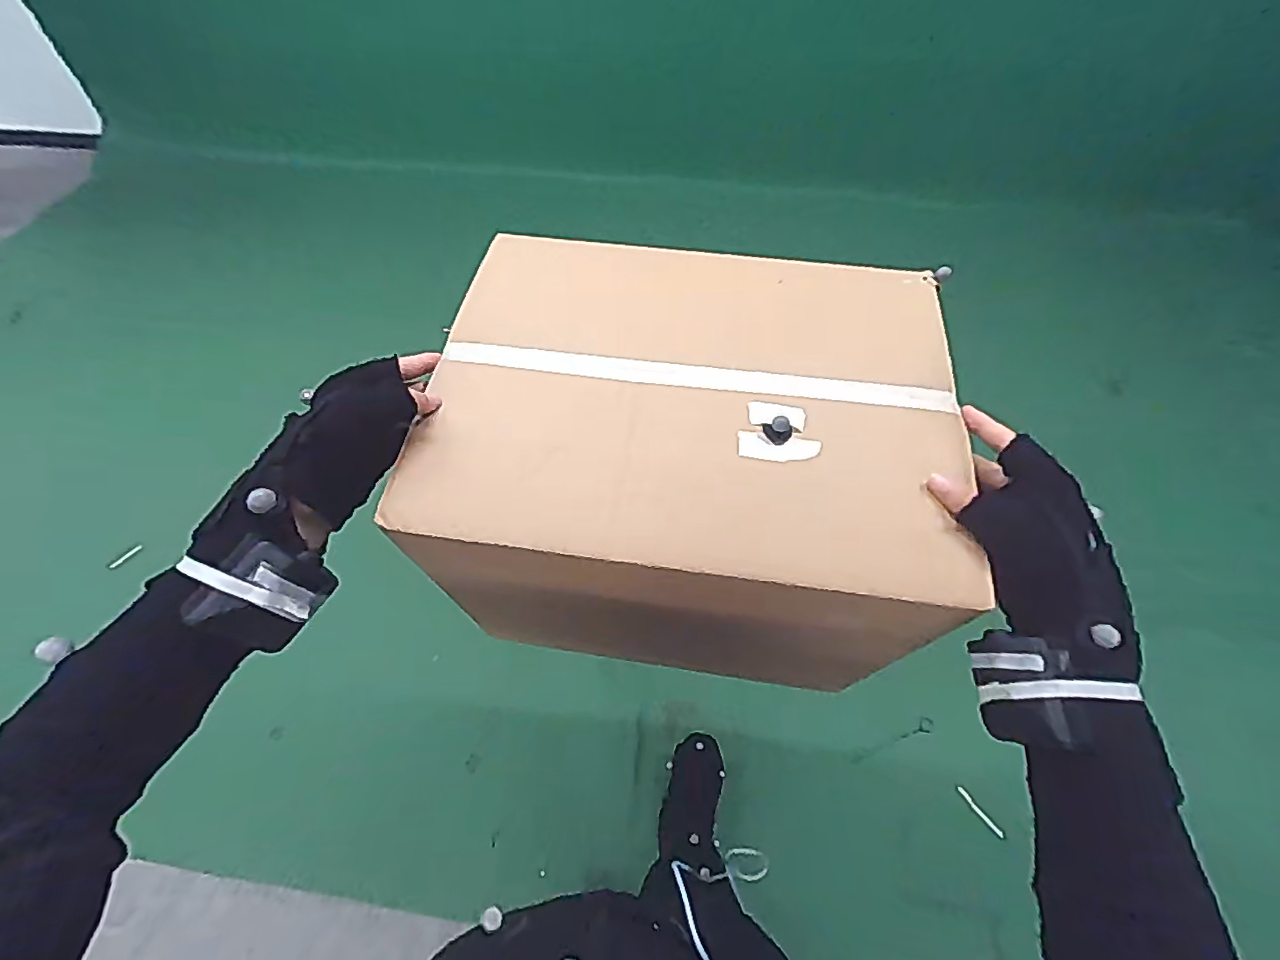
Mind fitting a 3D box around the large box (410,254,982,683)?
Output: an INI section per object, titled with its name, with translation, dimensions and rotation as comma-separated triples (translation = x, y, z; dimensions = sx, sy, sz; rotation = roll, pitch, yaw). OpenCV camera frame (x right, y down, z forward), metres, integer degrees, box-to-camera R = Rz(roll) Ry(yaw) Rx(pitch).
[large box]
translation = 0.048, 0.004, 0.572
dimensions = 0.408, 0.320, 0.320
rotation = 7, 60, 4
